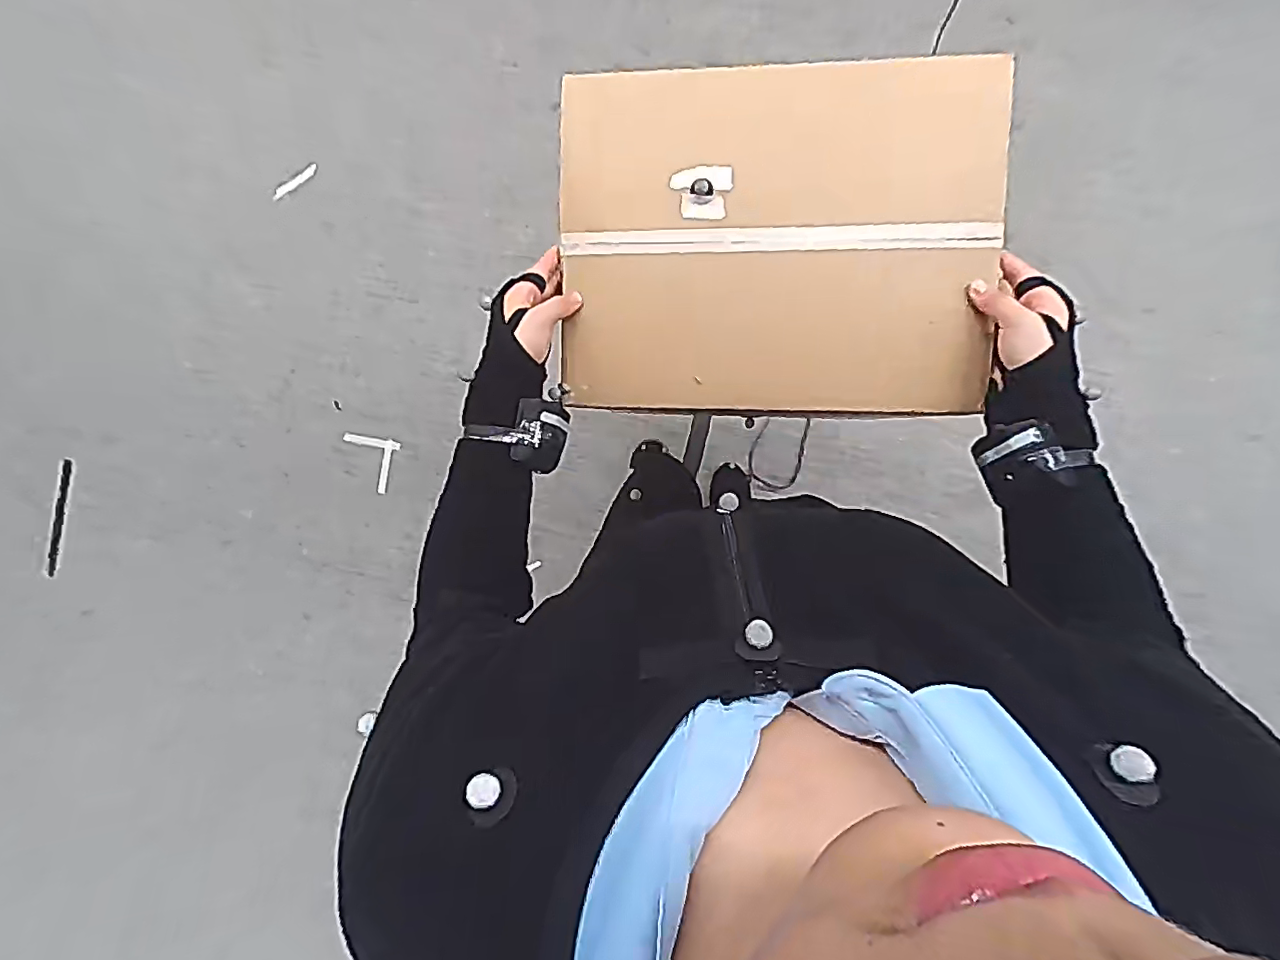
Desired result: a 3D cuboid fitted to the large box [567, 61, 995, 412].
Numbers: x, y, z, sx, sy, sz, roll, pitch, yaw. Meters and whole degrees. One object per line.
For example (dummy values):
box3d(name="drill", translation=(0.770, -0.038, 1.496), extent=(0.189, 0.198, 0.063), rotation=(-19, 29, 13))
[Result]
box3d(name="large box", translation=(0.143, -0.242, 0.670), extent=(0.408, 0.320, 0.320), rotation=(1, 95, 7))
